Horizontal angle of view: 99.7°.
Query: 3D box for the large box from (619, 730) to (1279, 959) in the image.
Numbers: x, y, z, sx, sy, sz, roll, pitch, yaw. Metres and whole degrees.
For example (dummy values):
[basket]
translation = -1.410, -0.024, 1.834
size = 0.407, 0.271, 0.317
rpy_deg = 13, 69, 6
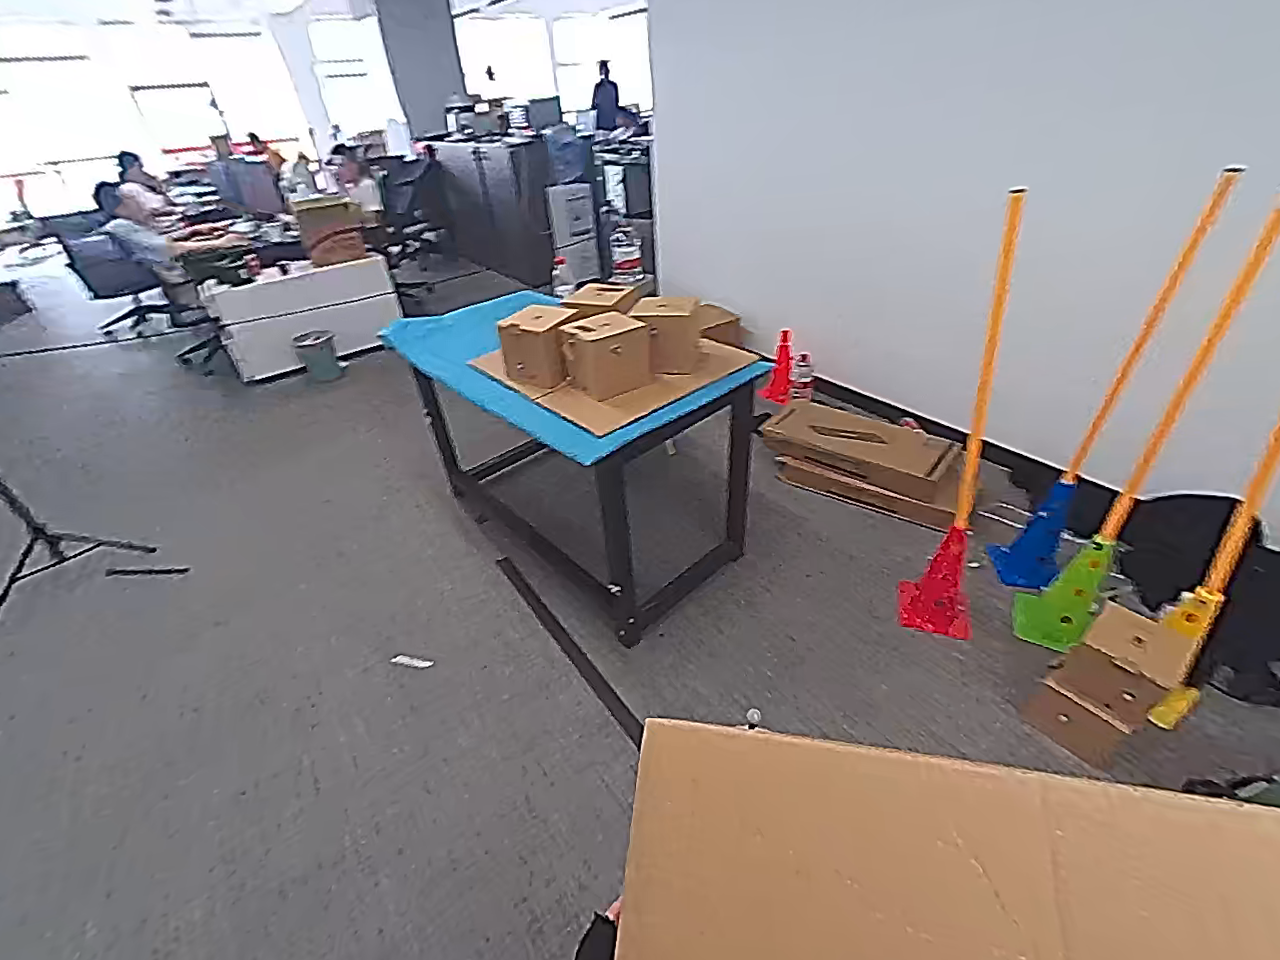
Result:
[large box]
translation = 0.212, 0.380, 0.405
size = 0.408, 0.320, 0.320
rpy_deg = 0, 66, 17
